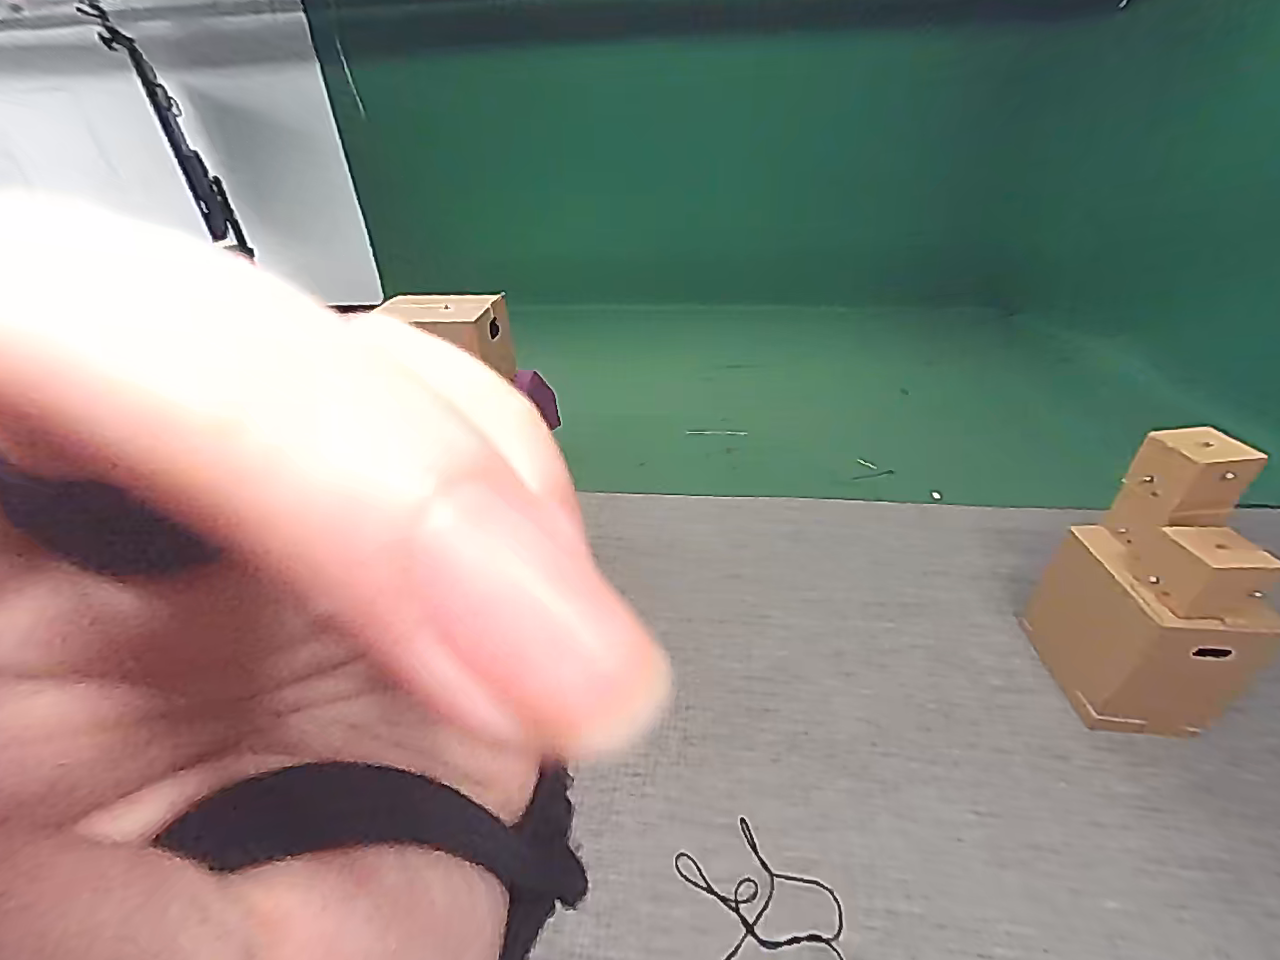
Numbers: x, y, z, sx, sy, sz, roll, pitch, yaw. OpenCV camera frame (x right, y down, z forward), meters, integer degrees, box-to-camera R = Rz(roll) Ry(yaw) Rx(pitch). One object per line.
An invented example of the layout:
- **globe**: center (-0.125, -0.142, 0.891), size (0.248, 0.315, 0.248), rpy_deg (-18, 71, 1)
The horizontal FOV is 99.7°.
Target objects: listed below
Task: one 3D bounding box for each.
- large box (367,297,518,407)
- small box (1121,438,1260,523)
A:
- **large box**: center (-0.697, -0.472, 1.975), size (0.408, 0.320, 0.320), rpy_deg (3, 34, 5)
- **small box**: center (1.501, 0.001, 1.490), size (0.179, 0.176, 0.168), rpy_deg (-5, 34, -1)
